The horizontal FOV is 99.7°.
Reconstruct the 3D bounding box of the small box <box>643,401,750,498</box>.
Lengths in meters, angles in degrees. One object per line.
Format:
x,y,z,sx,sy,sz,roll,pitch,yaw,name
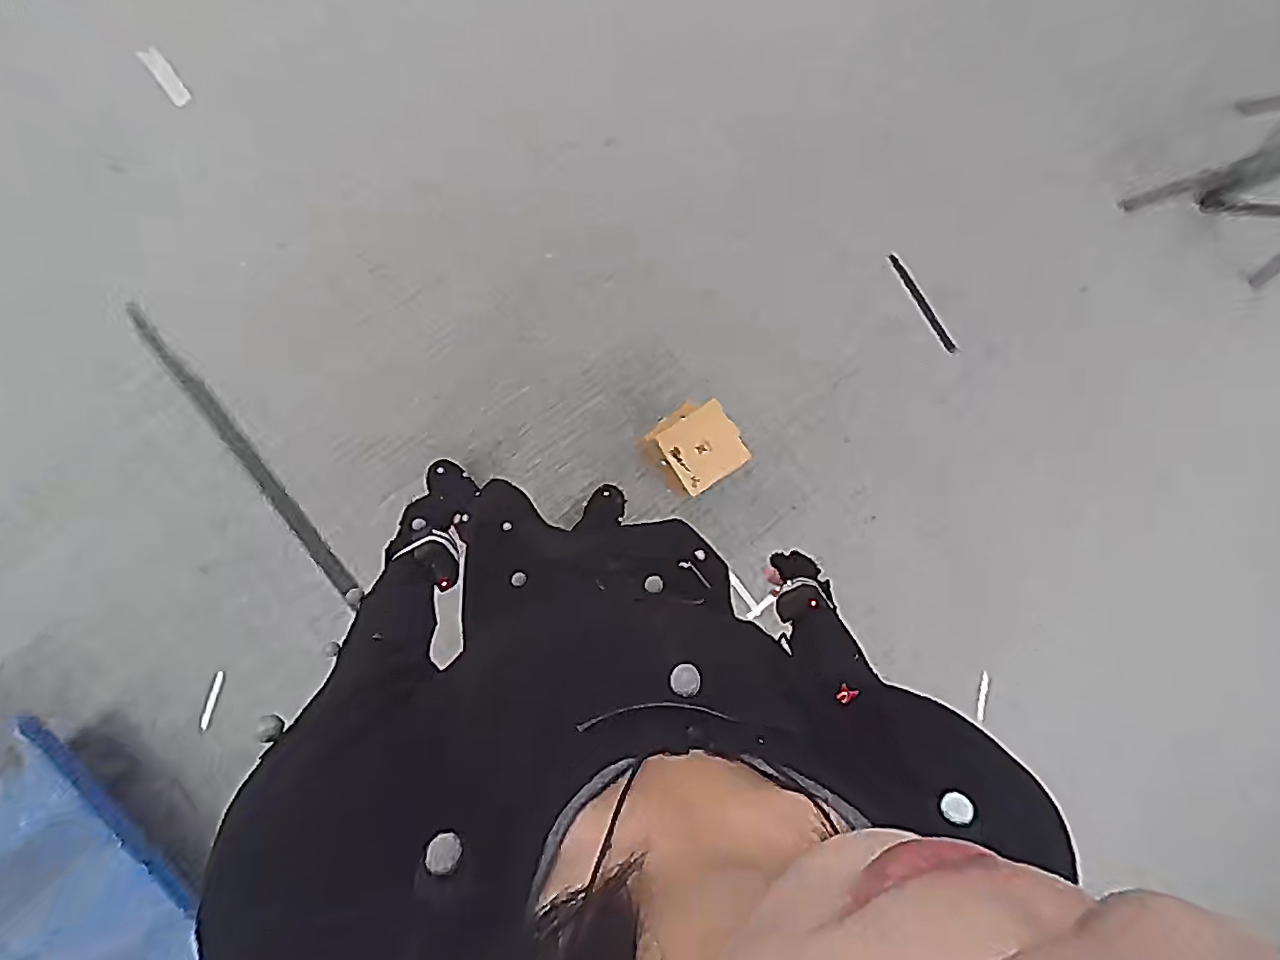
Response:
0.130,-0.070,1.313,0.179,0.176,0.168,-32,95,-10,small box

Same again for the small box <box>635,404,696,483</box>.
0.107,-0.084,1.476,0.168,0.176,0.179,-39,95,-9,small box
